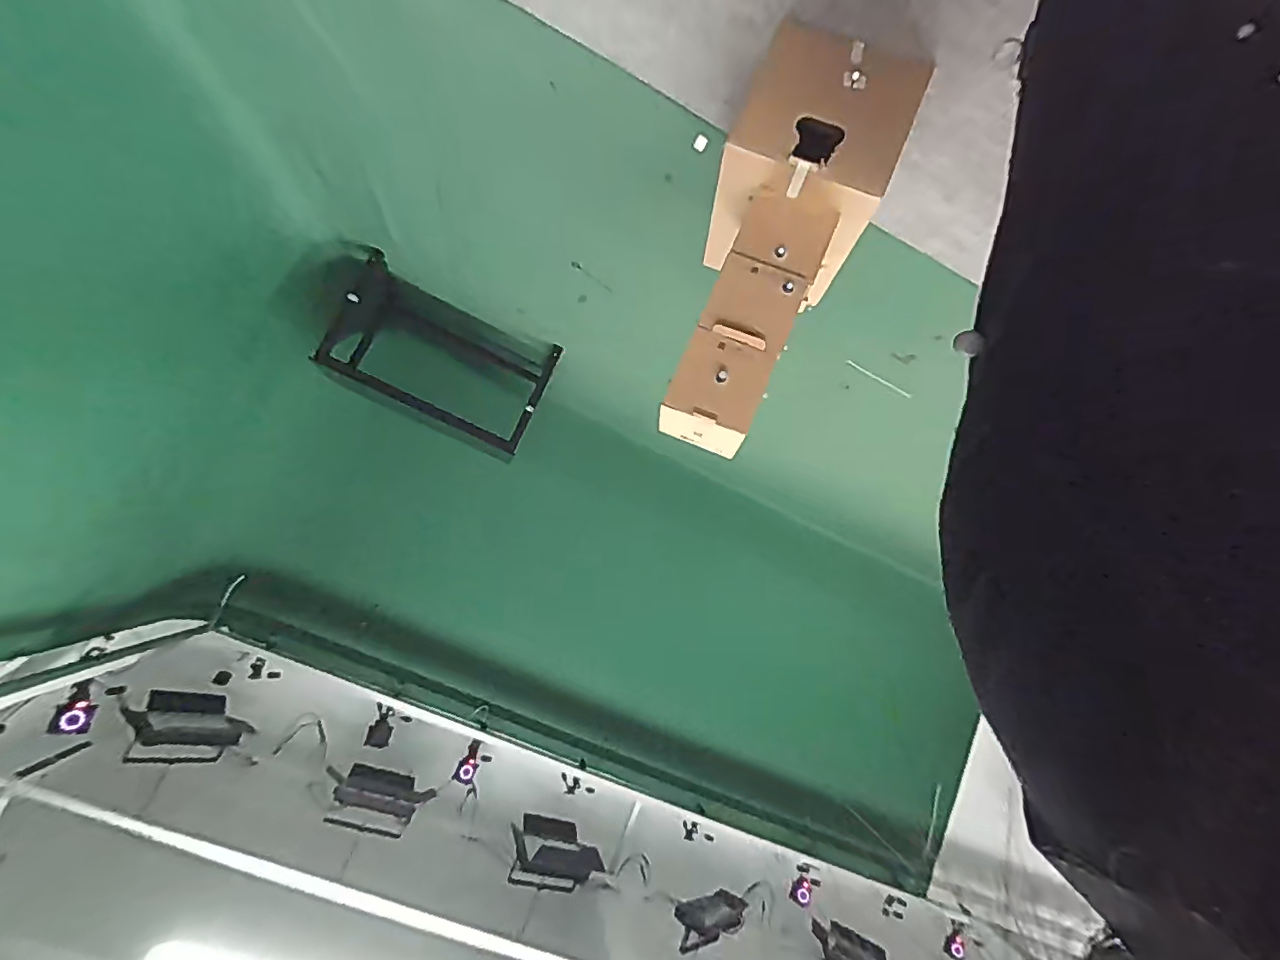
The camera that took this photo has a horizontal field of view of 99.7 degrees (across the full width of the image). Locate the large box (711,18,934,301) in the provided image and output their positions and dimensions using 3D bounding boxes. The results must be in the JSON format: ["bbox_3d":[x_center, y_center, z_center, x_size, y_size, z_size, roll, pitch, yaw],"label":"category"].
[{"bbox_3d":[0.372,-0.679,1.203,0.320,0.320,0.408,24,172,6],"label":"large box"}]

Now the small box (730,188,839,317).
[{"bbox_3d":[0.286,-0.463,1.119,0.179,0.176,0.168,23,170,5],"label":"small box"}]

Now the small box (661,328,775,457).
[{"bbox_3d":[0.150,-0.169,1.062,0.168,0.176,0.179,23,169,5],"label":"small box"}]

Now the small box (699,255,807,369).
[{"bbox_3d":[0.218,-0.317,1.087,0.168,0.176,0.179,23,170,6],"label":"small box"}]
